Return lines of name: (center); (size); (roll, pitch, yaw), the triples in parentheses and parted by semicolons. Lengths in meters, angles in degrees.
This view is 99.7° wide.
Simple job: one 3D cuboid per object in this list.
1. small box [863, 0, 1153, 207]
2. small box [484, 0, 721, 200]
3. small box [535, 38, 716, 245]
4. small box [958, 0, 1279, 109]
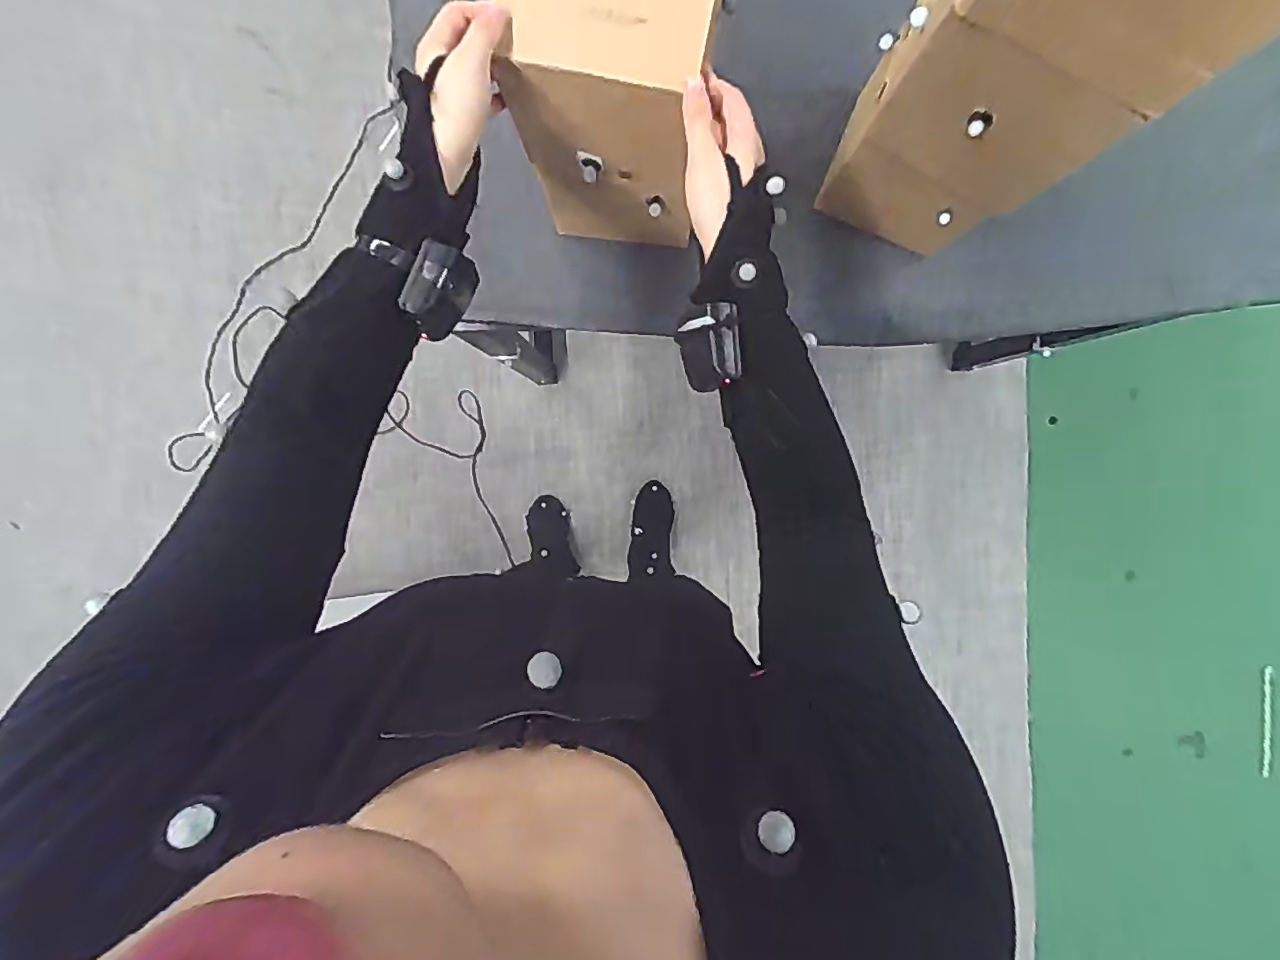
small box: (0.339, -0.378, 0.479); (0.179, 0.176, 0.168); (30, 92, -1)
small box: (-0.020, -0.388, 0.484); (0.168, 0.176, 0.179); (11, 94, 2)
small box: (-0.015, -0.398, 0.646); (0.179, 0.176, 0.168); (6, 92, 1)
small box: (0.336, -0.371, 0.317); (0.179, 0.176, 0.168); (27, 92, -2)
